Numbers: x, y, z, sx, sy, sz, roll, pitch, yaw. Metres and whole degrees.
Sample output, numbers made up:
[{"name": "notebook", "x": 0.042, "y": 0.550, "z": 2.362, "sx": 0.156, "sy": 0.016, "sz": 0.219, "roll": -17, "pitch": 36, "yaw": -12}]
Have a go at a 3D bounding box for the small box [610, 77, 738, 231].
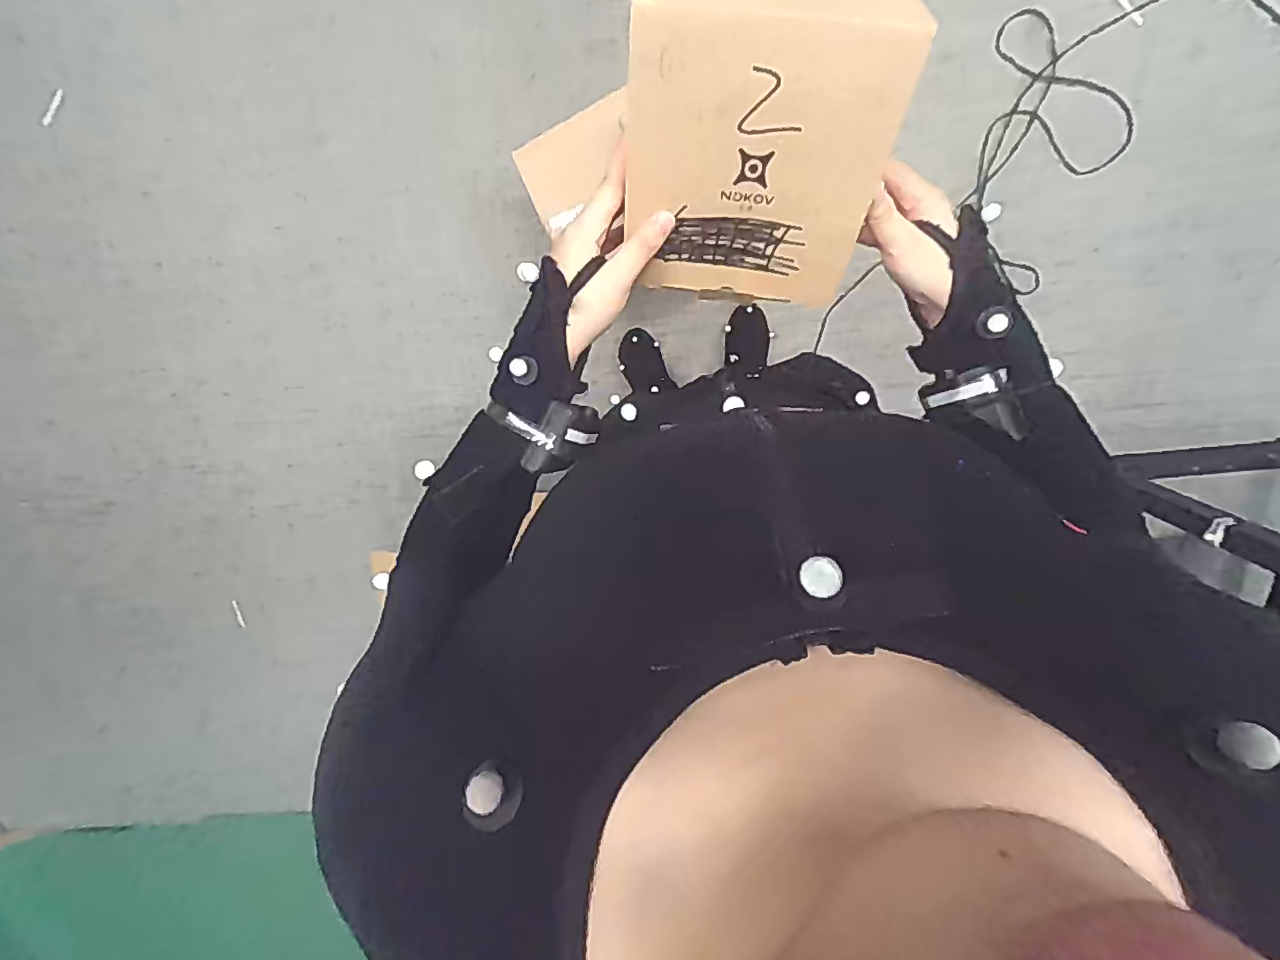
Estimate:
[{"name": "small box", "x": 0.056, "y": -0.540, "z": 0.924, "sx": 0.168, "sy": 0.176, "sz": 0.179, "roll": 16, "pitch": 112, "yaw": -3}]
